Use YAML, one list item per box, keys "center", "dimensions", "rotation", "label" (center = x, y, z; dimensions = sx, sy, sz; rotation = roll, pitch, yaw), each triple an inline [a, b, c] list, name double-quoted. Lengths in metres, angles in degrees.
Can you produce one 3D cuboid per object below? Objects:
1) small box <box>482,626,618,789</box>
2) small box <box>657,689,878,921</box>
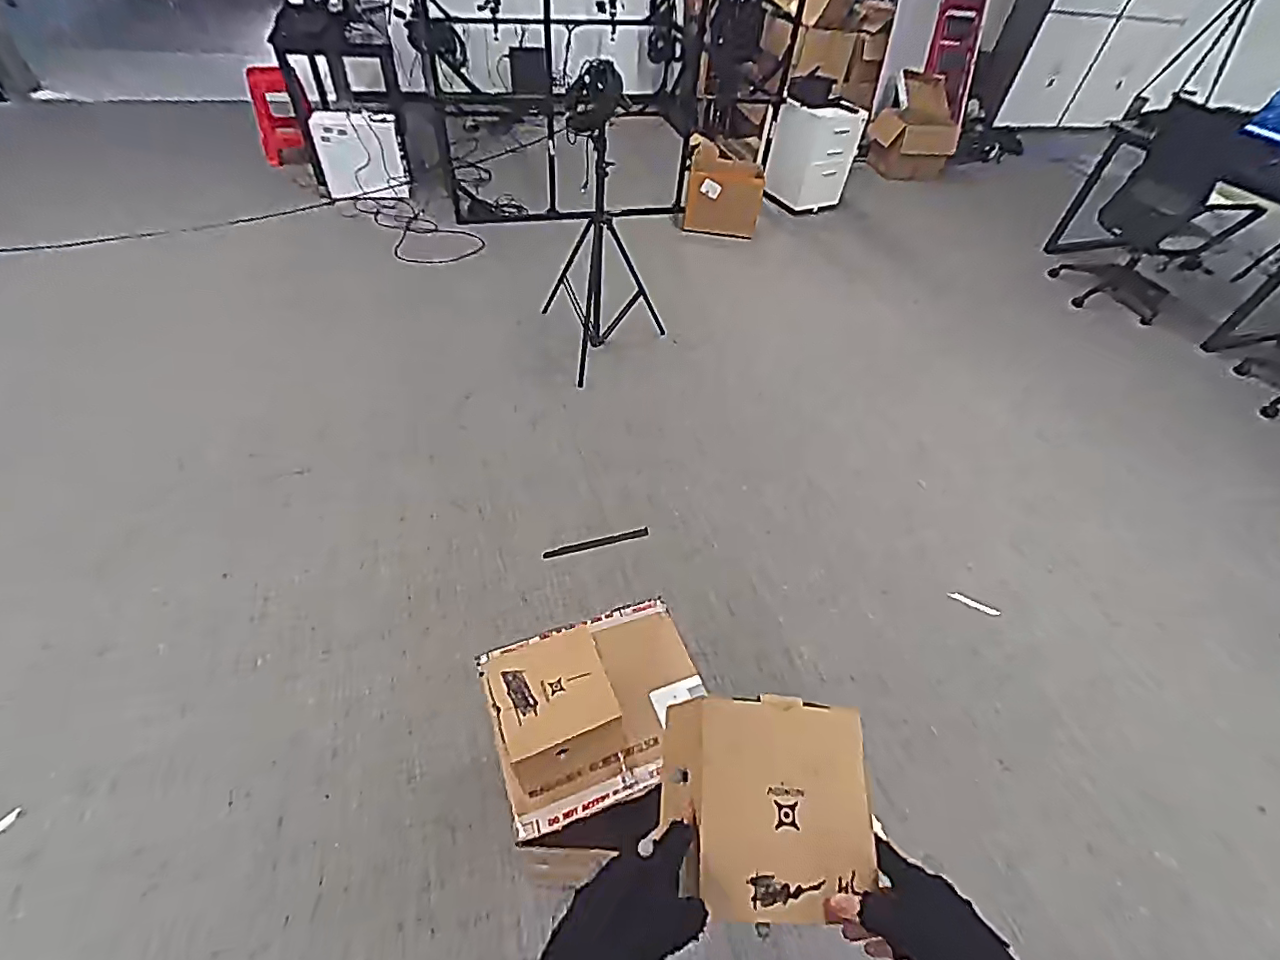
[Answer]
- center: [-0.144, 0.377, 0.891]
  dimensions: [0.179, 0.176, 0.168]
  rotation: [-16, 50, -19]
  label: "small box"
- center: [0.117, 0.326, 0.563]
  dimensions: [0.168, 0.176, 0.179]
  rotation: [8, 63, -7]
  label: "small box"
